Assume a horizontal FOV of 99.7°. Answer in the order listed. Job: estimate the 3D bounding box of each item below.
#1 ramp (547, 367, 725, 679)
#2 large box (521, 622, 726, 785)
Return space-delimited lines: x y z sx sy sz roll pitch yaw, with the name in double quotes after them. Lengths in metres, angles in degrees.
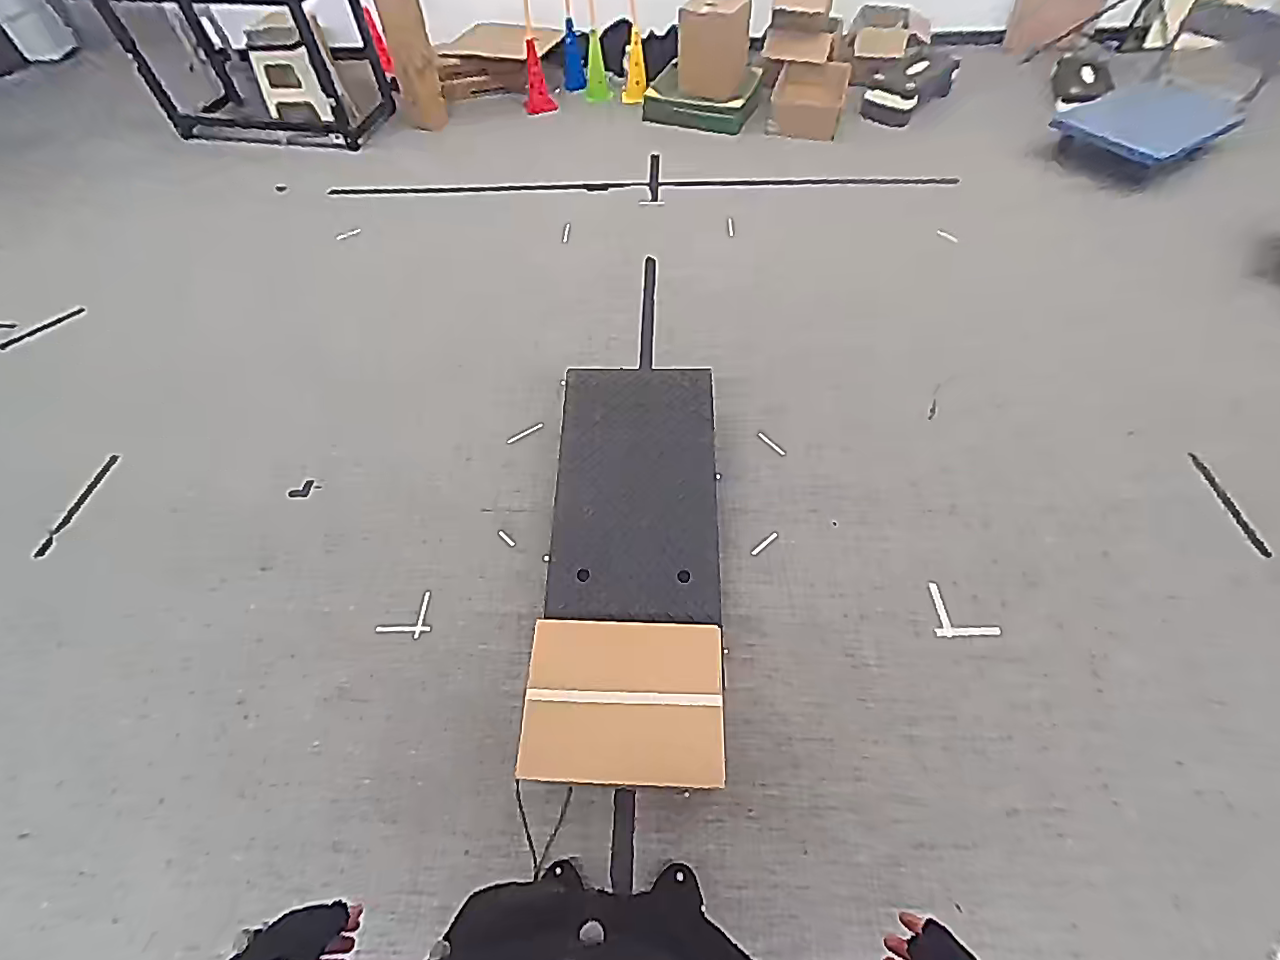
-0.007 0.078 1.632 0.509 0.206 0.991 0 56 0 "ramp"
-0.024 0.522 1.244 0.408 0.320 0.320 1 59 3 "large box"
